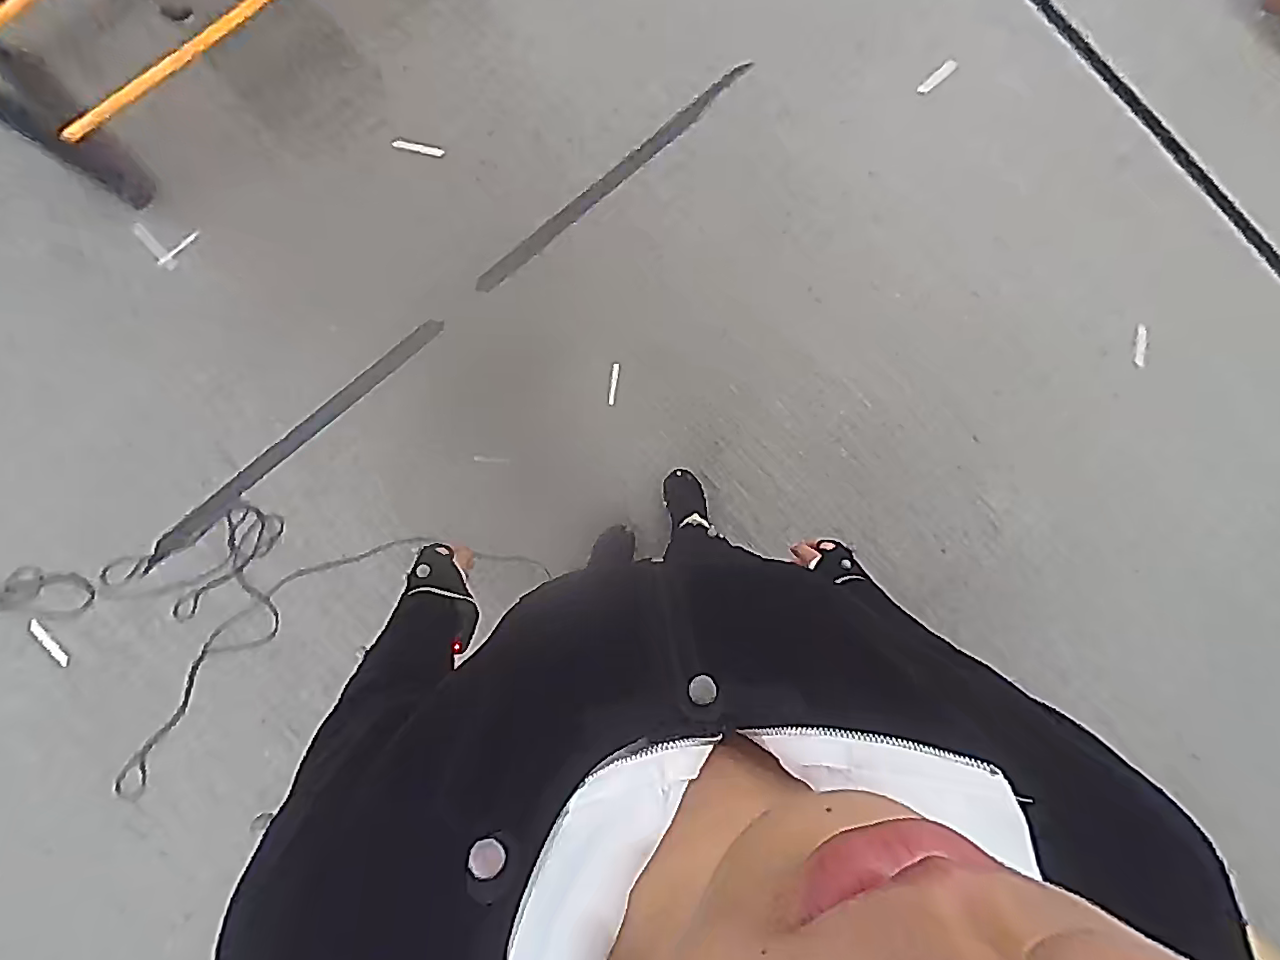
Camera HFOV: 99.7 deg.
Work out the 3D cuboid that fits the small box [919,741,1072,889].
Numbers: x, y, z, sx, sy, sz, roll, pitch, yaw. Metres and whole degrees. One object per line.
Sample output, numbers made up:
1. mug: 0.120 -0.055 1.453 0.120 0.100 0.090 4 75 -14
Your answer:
1. small box: 0.571 0.535 0.810 0.168 0.176 0.179 -41 88 -5
